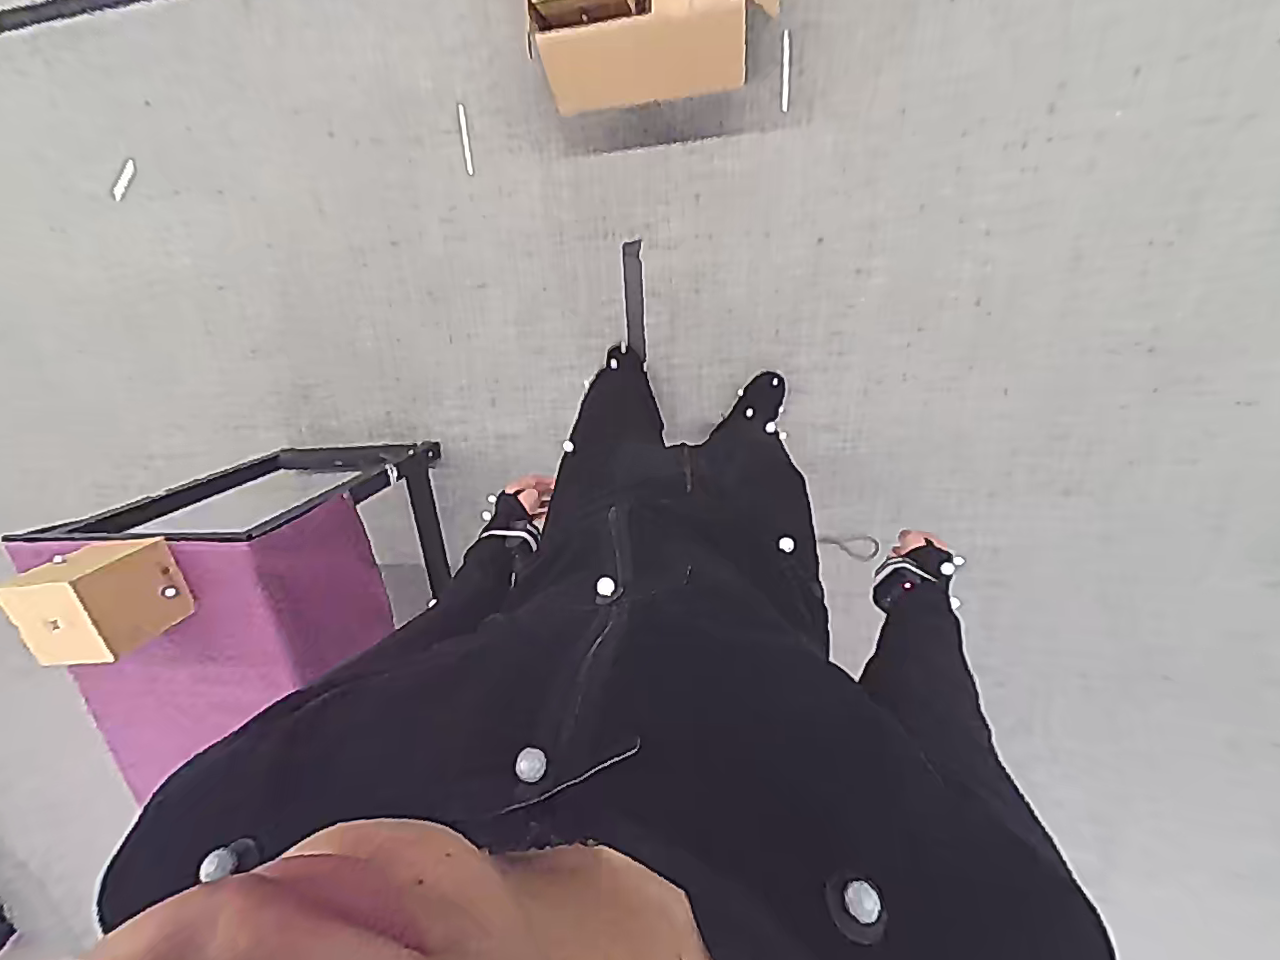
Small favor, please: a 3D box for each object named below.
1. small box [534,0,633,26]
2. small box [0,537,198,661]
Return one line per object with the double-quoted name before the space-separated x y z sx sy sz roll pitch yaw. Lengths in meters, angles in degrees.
"small box" -0.112 -0.983 1.002 0.168 0.176 0.179 -2 110 10
"small box" -0.999 0.218 1.014 0.179 0.176 0.168 -5 111 12
